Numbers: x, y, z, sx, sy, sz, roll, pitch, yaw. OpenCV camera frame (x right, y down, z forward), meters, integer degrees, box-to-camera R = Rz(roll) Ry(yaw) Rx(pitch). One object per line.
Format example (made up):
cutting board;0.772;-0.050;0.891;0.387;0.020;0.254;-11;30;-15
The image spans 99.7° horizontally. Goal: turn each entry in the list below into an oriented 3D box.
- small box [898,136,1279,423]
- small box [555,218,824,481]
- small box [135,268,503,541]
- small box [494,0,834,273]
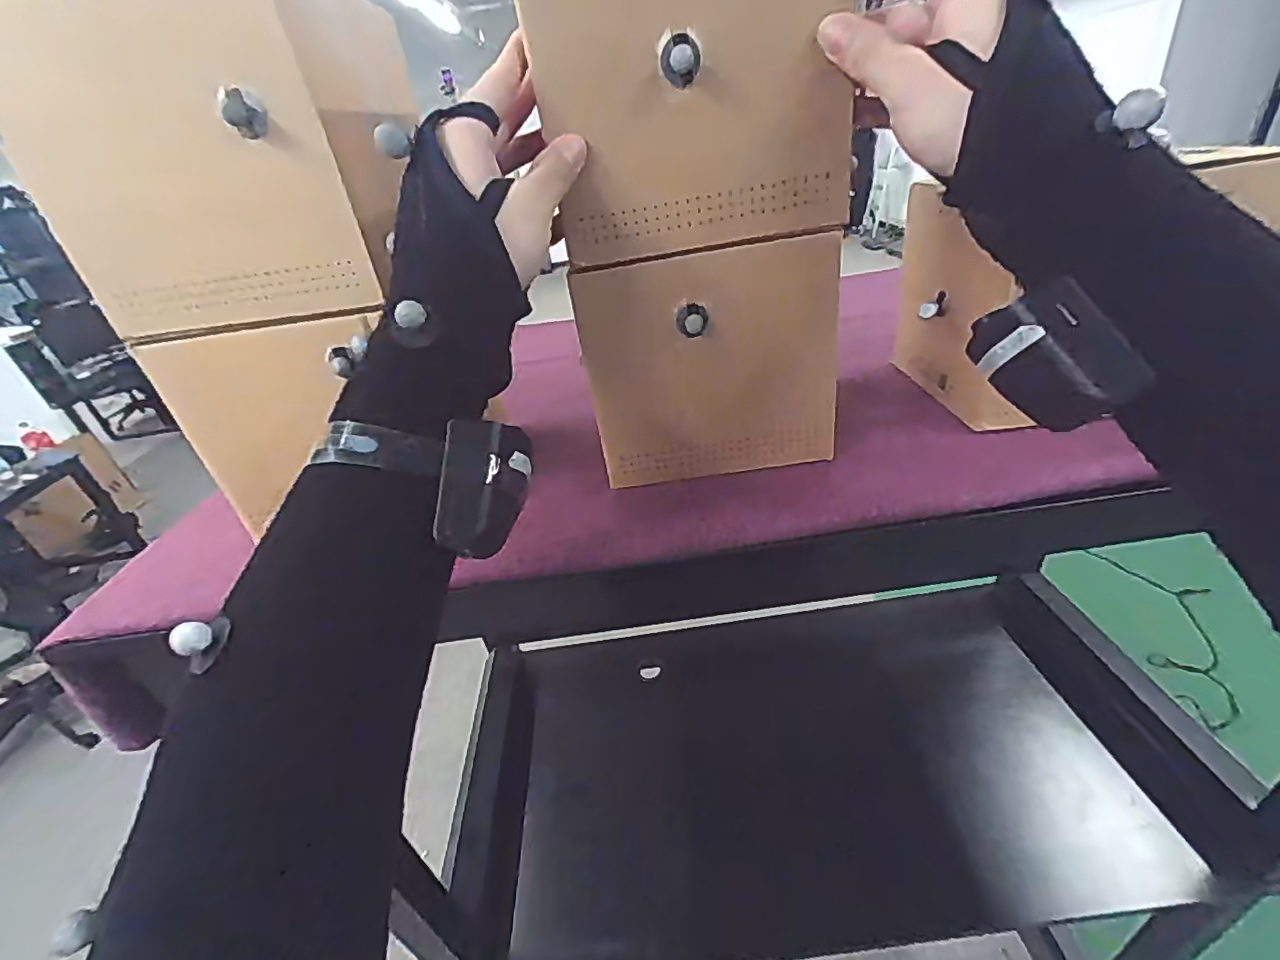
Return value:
small box;0.324;-0.158;0.433;0.179;0.176;0.168;-9;32;5
small box;0.043;-0.114;0.446;0.179;0.176;0.168;-8;33;4
small box;-0.234;-0.064;0.453;0.179;0.176;0.168;-7;32;3
small box;0.018;-0.251;0.359;0.179;0.176;0.168;-10;32;3
